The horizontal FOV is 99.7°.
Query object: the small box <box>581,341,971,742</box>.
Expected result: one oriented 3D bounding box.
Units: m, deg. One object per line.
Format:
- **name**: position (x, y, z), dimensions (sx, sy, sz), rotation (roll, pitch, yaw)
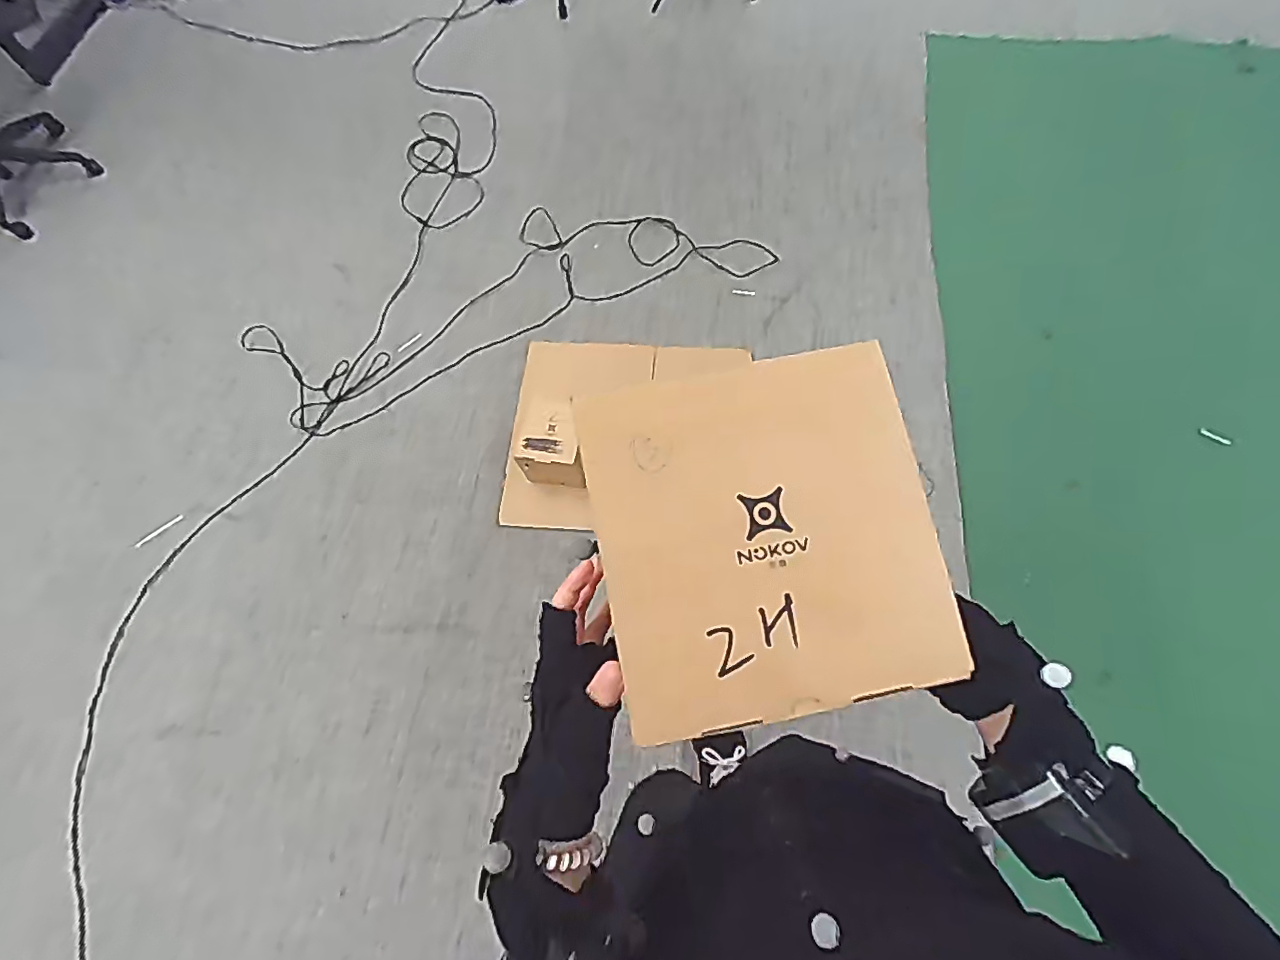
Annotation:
- **small box**: position (0.061, 0.037, 0.346), dimensions (0.168, 0.176, 0.179), rotation (-11, 81, -3)
